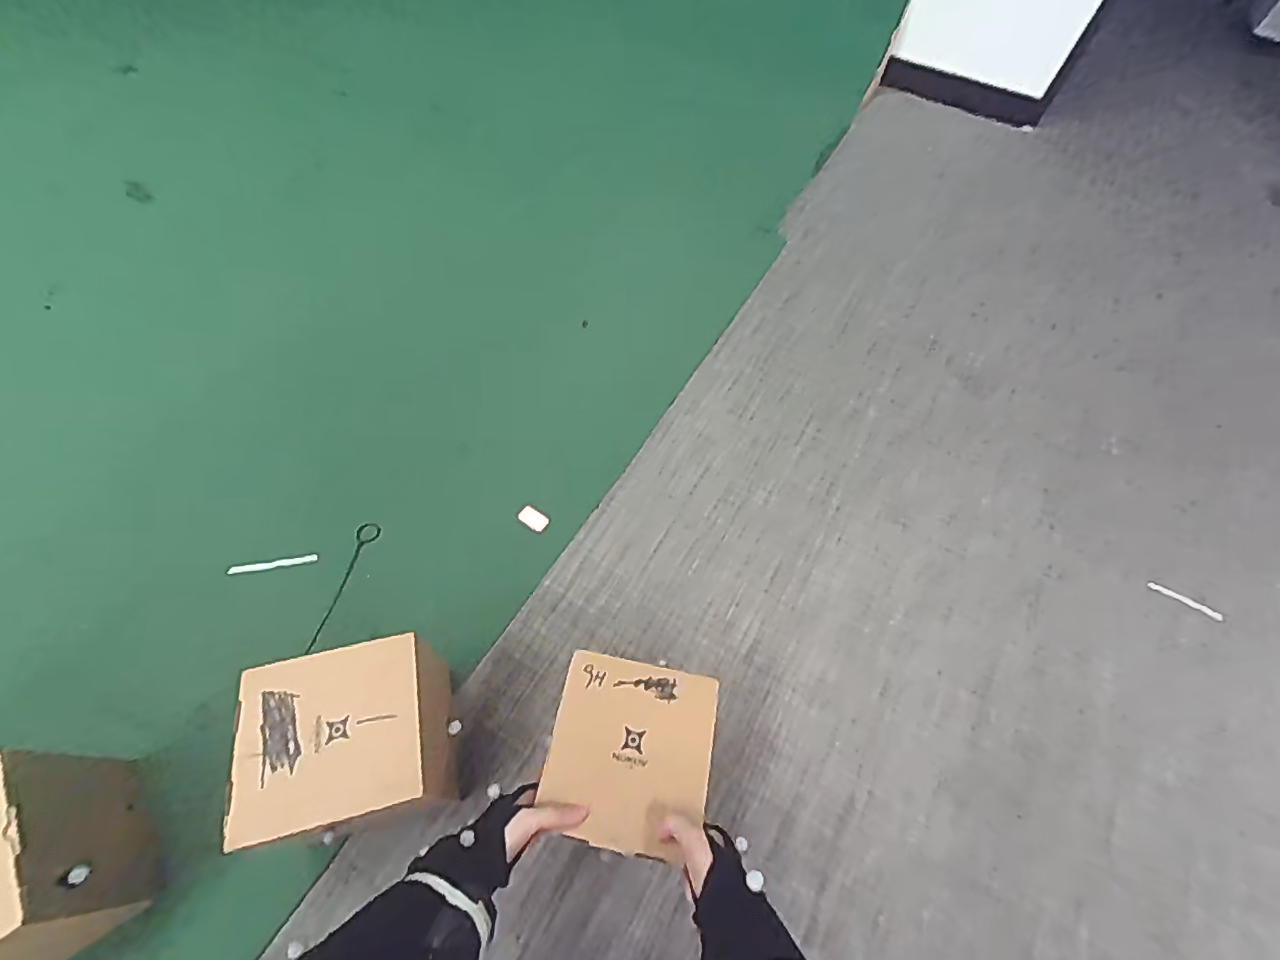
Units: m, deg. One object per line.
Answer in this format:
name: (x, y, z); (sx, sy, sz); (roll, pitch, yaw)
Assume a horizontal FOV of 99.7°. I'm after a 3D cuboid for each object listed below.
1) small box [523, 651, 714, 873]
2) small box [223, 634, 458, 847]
small box: (-0.020, 0.318, 0.620); (0.168, 0.176, 0.179); (12, 60, 3)
small box: (-0.319, 0.295, 0.611); (0.179, 0.176, 0.168); (-10, 60, -11)
